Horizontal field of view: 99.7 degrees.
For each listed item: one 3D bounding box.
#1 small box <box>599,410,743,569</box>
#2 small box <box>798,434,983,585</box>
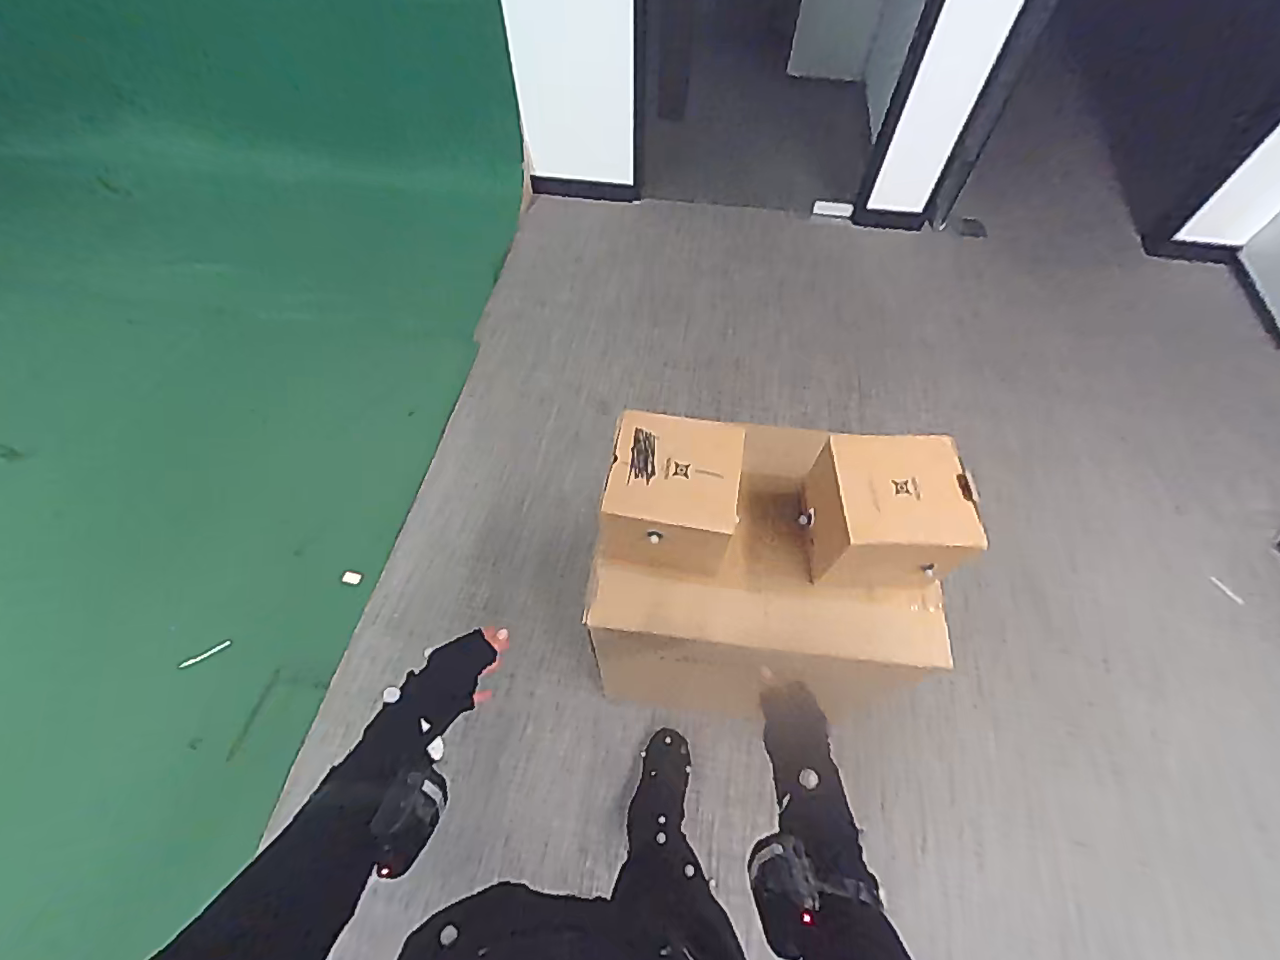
[{"bbox_3d":[0.047,0.021,0.799,0.179,0.176,0.168,9,62,5],"label":"small box"},{"bbox_3d":[0.345,0.048,0.784,0.179,0.176,0.168,-1,60,1],"label":"small box"}]
